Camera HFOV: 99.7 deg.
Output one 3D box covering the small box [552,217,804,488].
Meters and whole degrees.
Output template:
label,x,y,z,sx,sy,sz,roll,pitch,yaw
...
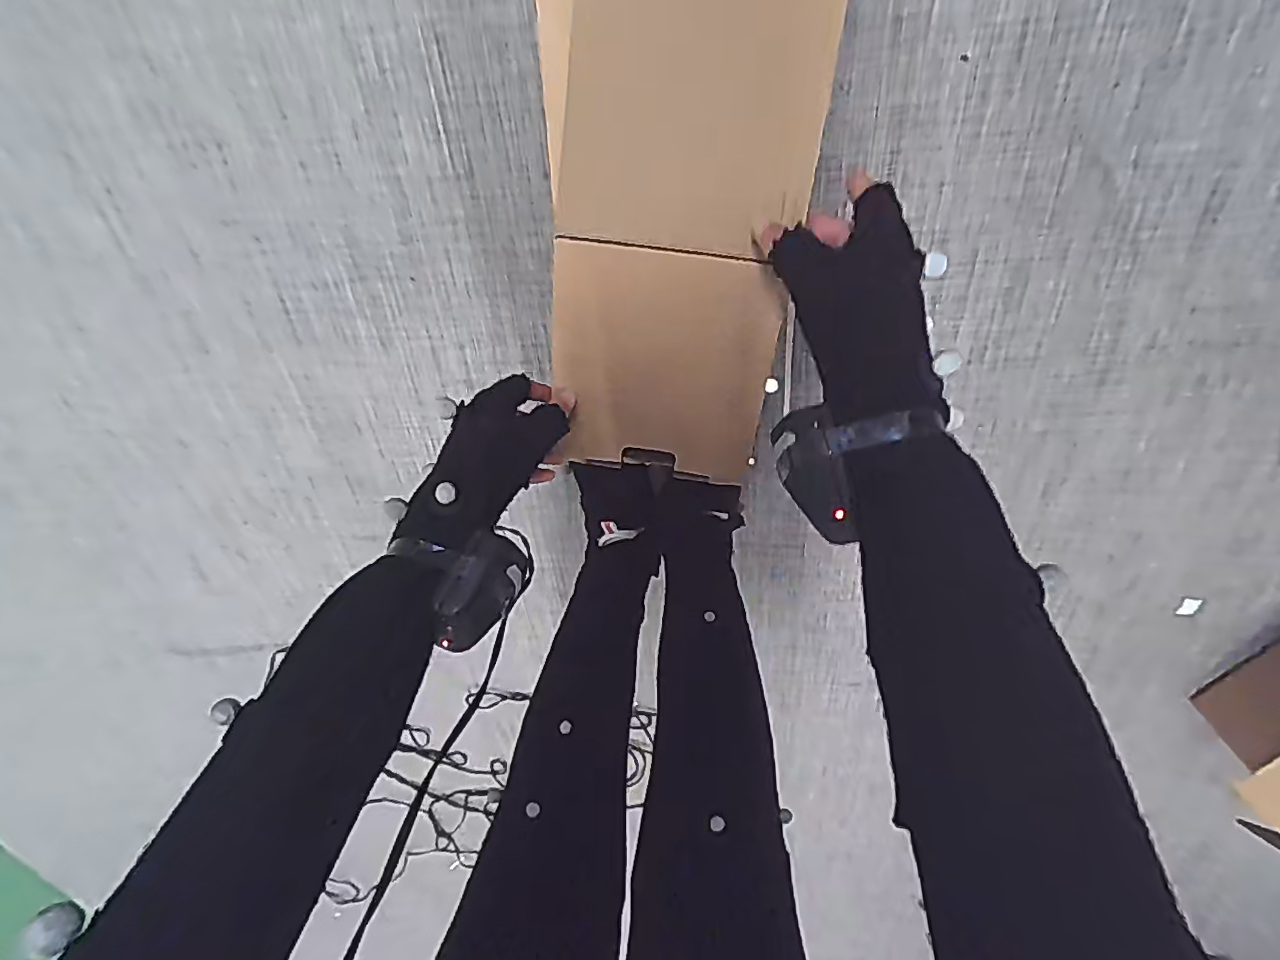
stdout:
label,x,y,z,sx,sy,sz,roll,pitch,yaw
small box,0.028,-0.119,0.473,0.168,0.176,0.179,10,119,1
